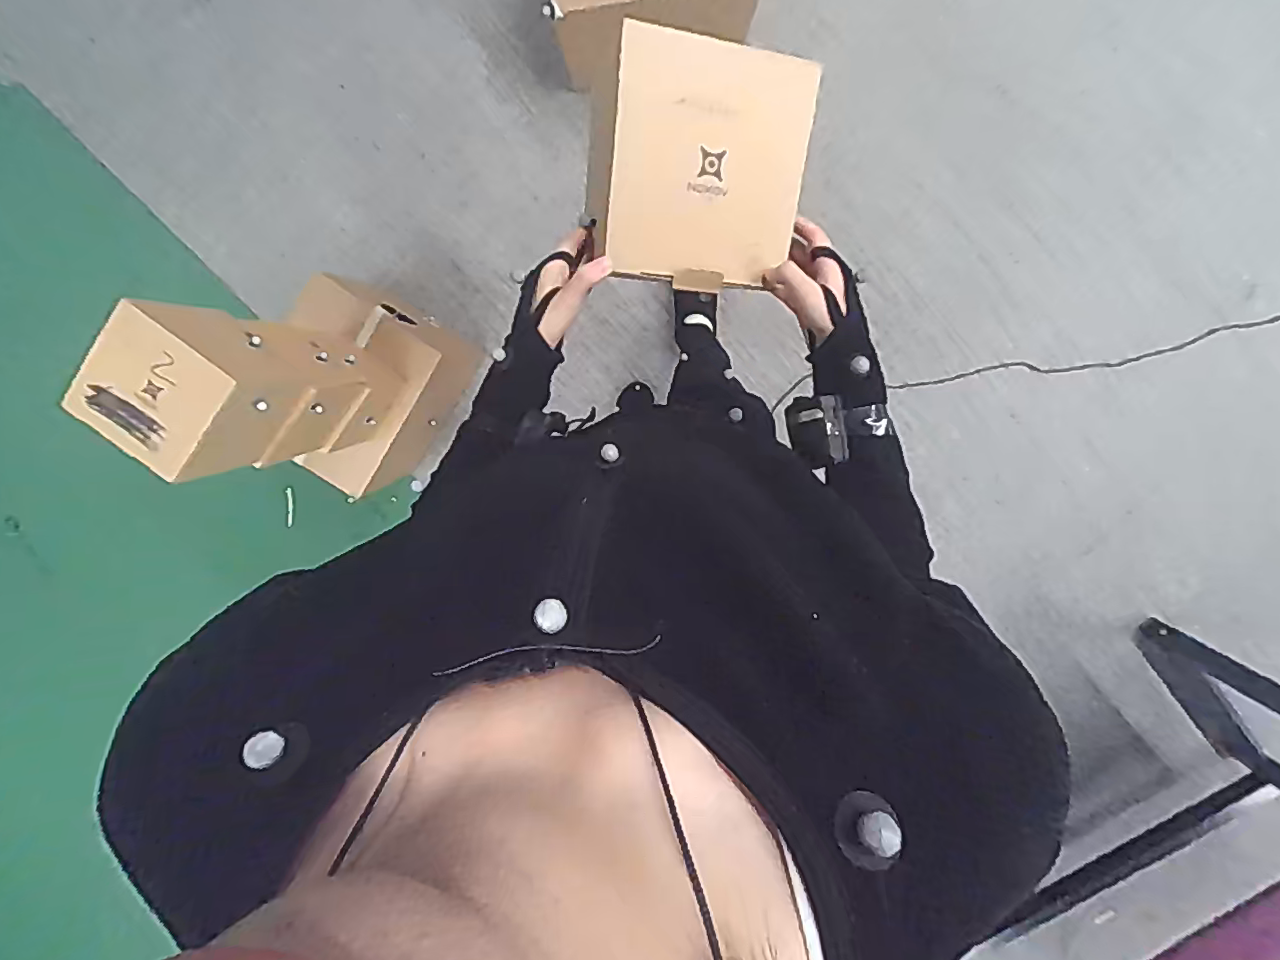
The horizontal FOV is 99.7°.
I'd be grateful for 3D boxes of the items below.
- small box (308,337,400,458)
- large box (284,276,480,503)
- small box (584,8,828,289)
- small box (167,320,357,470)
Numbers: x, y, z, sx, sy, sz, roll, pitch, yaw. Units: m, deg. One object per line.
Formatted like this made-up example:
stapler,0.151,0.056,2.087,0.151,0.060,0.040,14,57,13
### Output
small box,-0.620,-0.173,1.079,0.179,0.176,0.168,39,100,-8
large box,-0.657,-0.222,1.320,0.320,0.320,0.408,34,102,-5
small box,0.043,-0.282,0.508,0.168,0.176,0.179,1,109,-16
small box,-0.625,-0.144,0.919,0.168,0.176,0.179,40,99,-8
